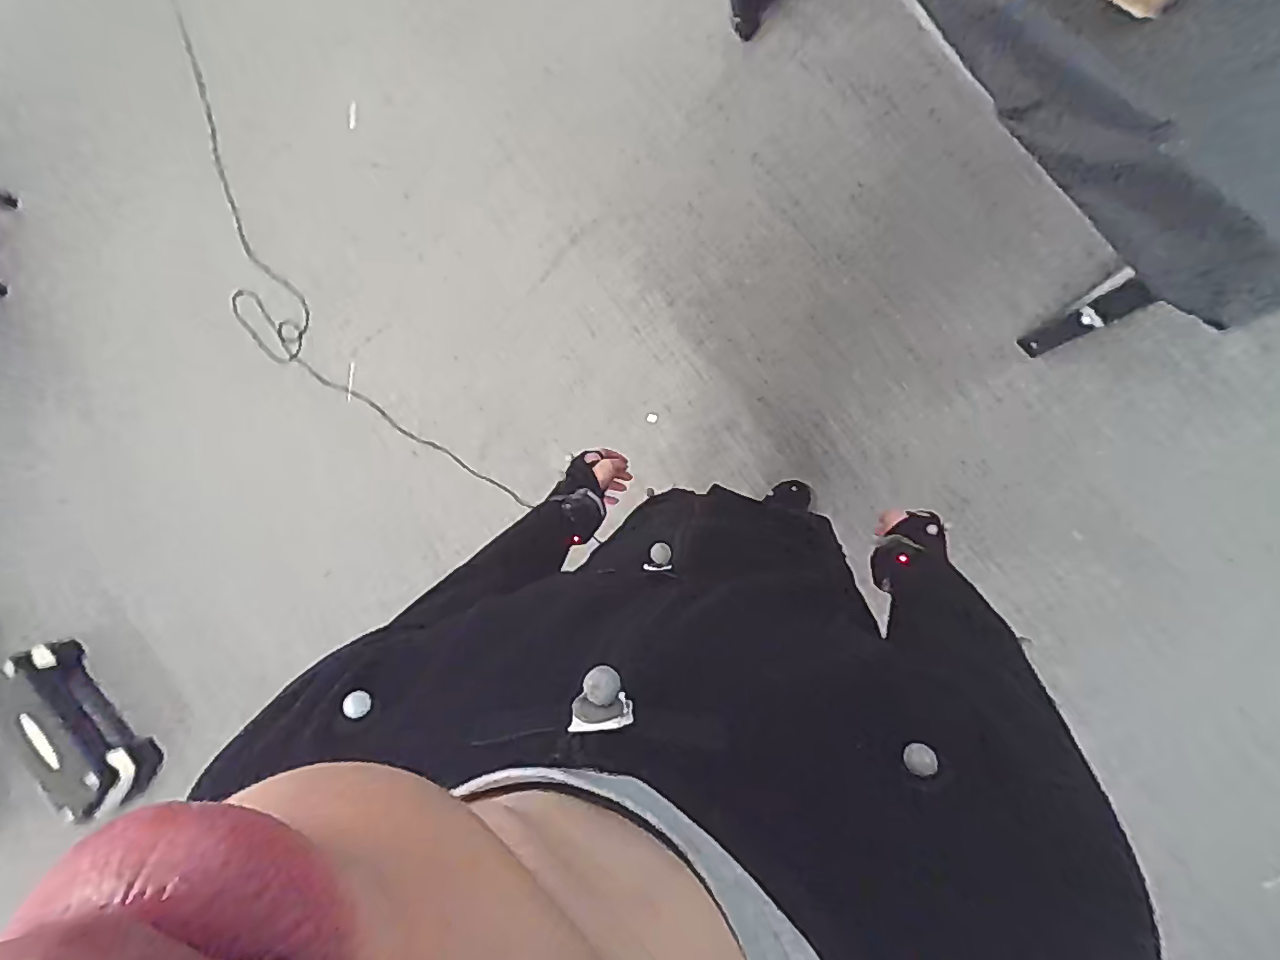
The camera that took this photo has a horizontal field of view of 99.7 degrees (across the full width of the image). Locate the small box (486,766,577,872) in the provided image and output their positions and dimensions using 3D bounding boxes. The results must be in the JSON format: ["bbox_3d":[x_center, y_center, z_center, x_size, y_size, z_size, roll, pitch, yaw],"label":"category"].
[{"bbox_3d":[-0.318,1.007,1.622,0.179,0.176,0.168,-42,83,11],"label":"small box"}]
